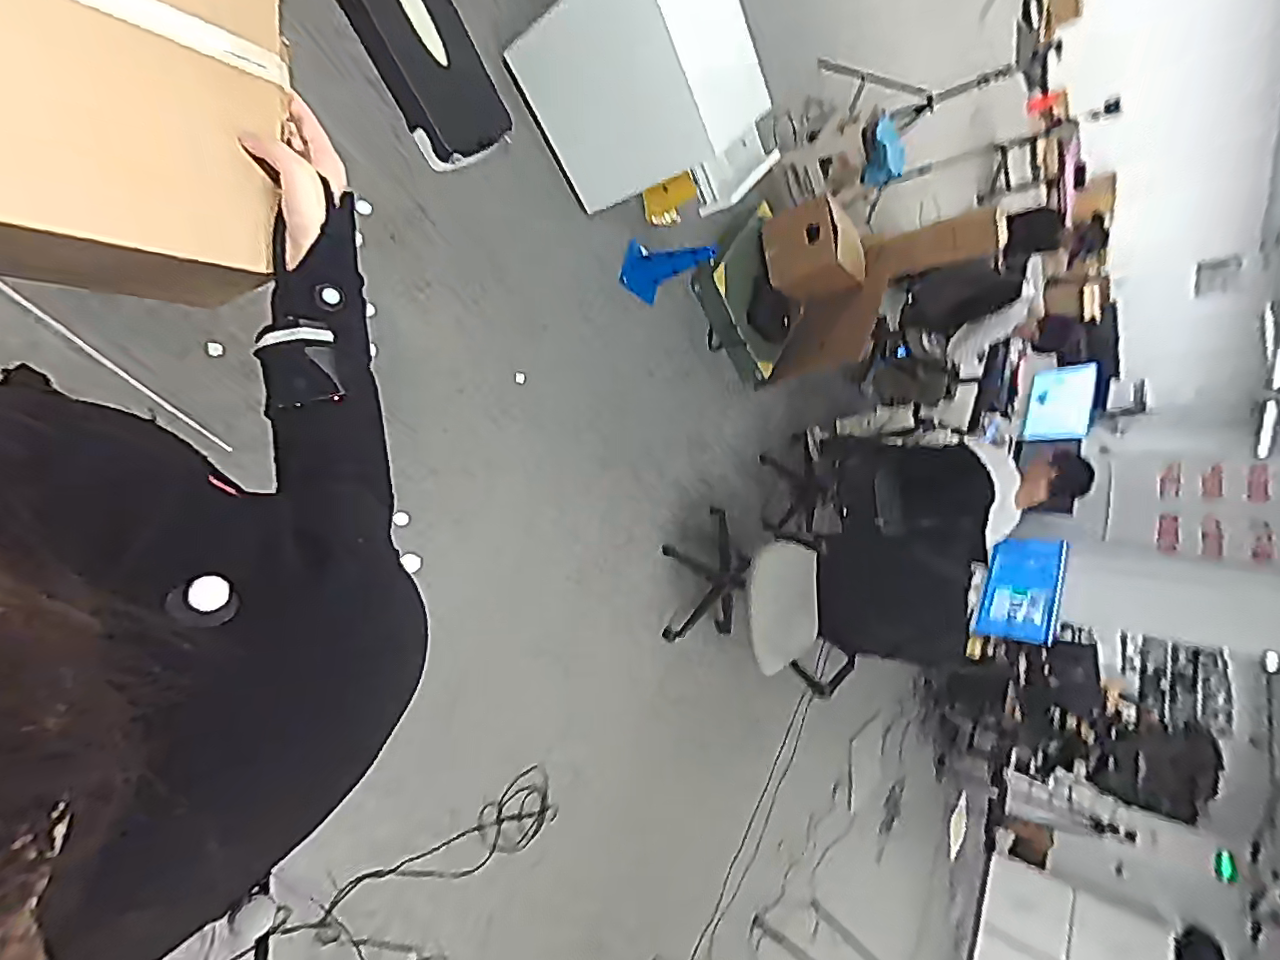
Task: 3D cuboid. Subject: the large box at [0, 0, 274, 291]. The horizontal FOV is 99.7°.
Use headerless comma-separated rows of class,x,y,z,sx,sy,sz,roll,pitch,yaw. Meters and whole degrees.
large box,-0.547,-0.340,0.402,0.408,0.320,0.320,-5,101,-45
